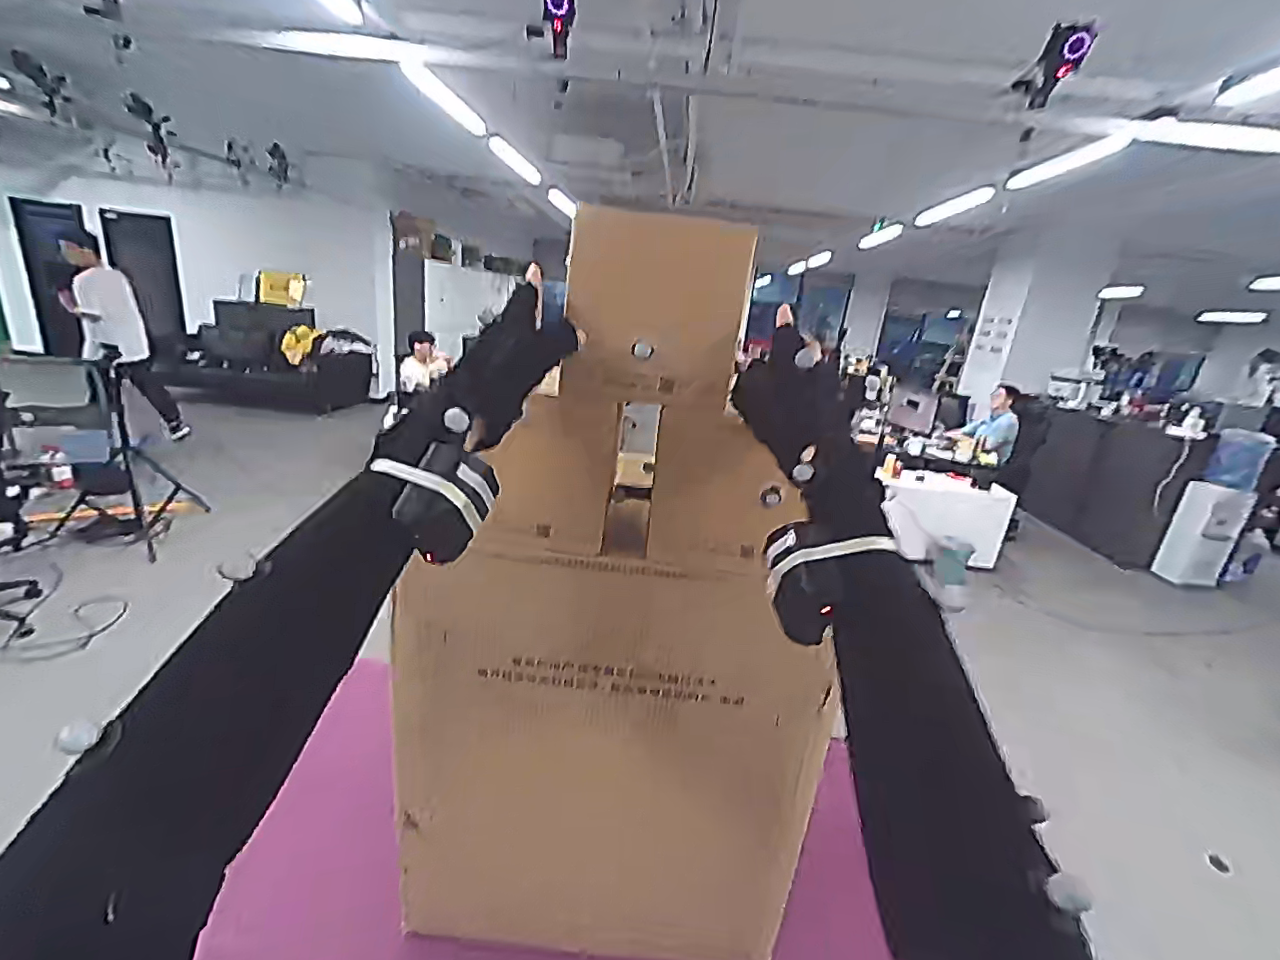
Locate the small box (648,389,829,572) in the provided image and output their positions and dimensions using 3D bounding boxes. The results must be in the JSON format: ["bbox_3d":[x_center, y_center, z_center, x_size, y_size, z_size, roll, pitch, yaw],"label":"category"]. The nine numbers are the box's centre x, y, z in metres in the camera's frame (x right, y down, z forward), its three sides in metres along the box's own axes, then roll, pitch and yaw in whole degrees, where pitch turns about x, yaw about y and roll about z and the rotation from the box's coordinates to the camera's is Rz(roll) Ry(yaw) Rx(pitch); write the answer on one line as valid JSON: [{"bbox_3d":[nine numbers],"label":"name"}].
[{"bbox_3d":[0.103,-0.010,0.617,0.168,0.176,0.179,7,16,5],"label":"small box"}]

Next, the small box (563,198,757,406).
[{"bbox_3d":[0.012,-0.181,0.576,0.168,0.176,0.179,6,18,-3],"label":"small box"}]
